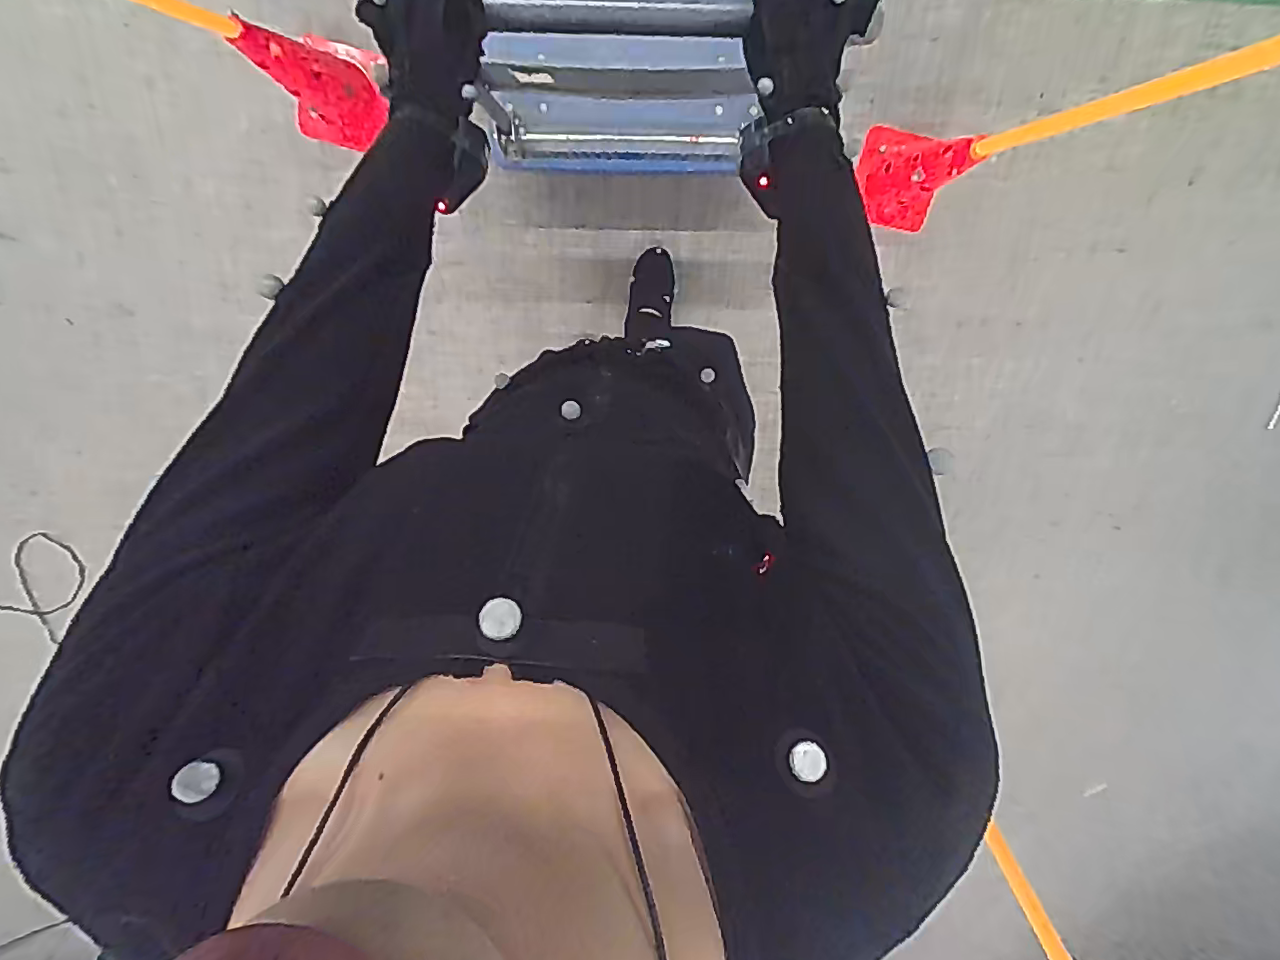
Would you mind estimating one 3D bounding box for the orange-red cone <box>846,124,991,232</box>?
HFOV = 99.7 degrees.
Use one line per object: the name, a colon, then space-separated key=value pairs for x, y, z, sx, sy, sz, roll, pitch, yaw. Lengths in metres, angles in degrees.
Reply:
orange-red cone: x=0.601 y=-0.644 z=1.109 sx=0.198 sy=0.360 sz=0.199 roll=13 pitch=111 yaw=-3
